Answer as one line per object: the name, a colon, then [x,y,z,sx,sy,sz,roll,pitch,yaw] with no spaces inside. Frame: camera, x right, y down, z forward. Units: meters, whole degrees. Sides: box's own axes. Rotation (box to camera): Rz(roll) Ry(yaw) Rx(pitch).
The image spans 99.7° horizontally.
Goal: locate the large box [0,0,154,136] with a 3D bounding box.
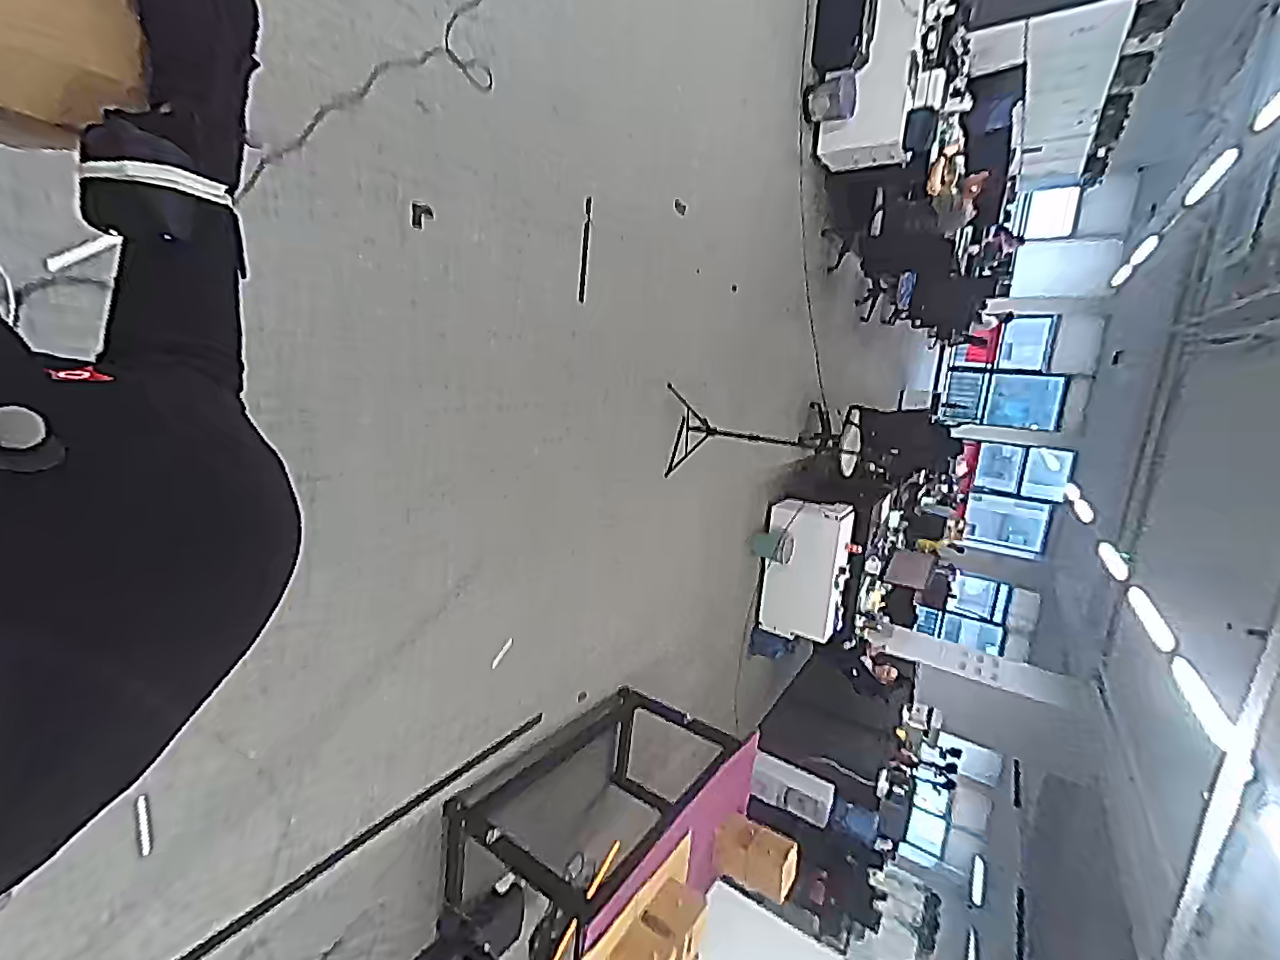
large box: [-0.550,-0.411,0.254,0.408,0.320,0.320,-12,119,-59]
